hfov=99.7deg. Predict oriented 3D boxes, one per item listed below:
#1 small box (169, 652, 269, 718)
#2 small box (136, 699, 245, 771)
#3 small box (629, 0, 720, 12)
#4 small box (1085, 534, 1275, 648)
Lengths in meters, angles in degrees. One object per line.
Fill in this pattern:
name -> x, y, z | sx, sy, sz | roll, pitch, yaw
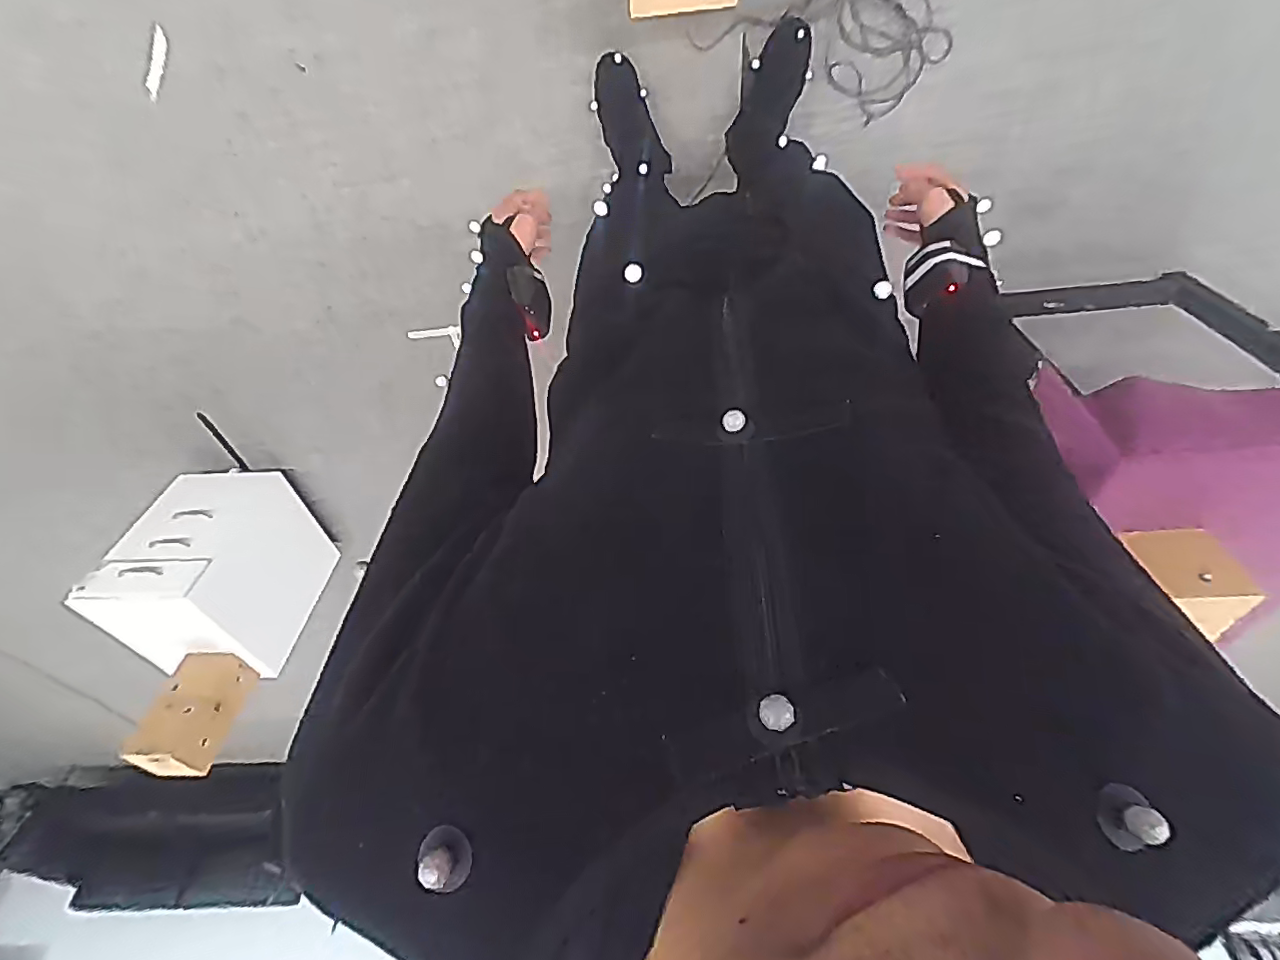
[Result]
small box -> -1.438, 0.704, 1.861 | 0.179, 0.176, 0.168 | -2, 135, 5
small box -> -1.439, 0.821, 1.745 | 0.168, 0.176, 0.179 | -1, 135, 5
small box -> 0.063, -0.971, 0.980 | 0.179, 0.176, 0.168 | -4, 134, 6
small box -> 1.071, 0.221, 1.094 | 0.179, 0.176, 0.168 | -2, 134, 5
